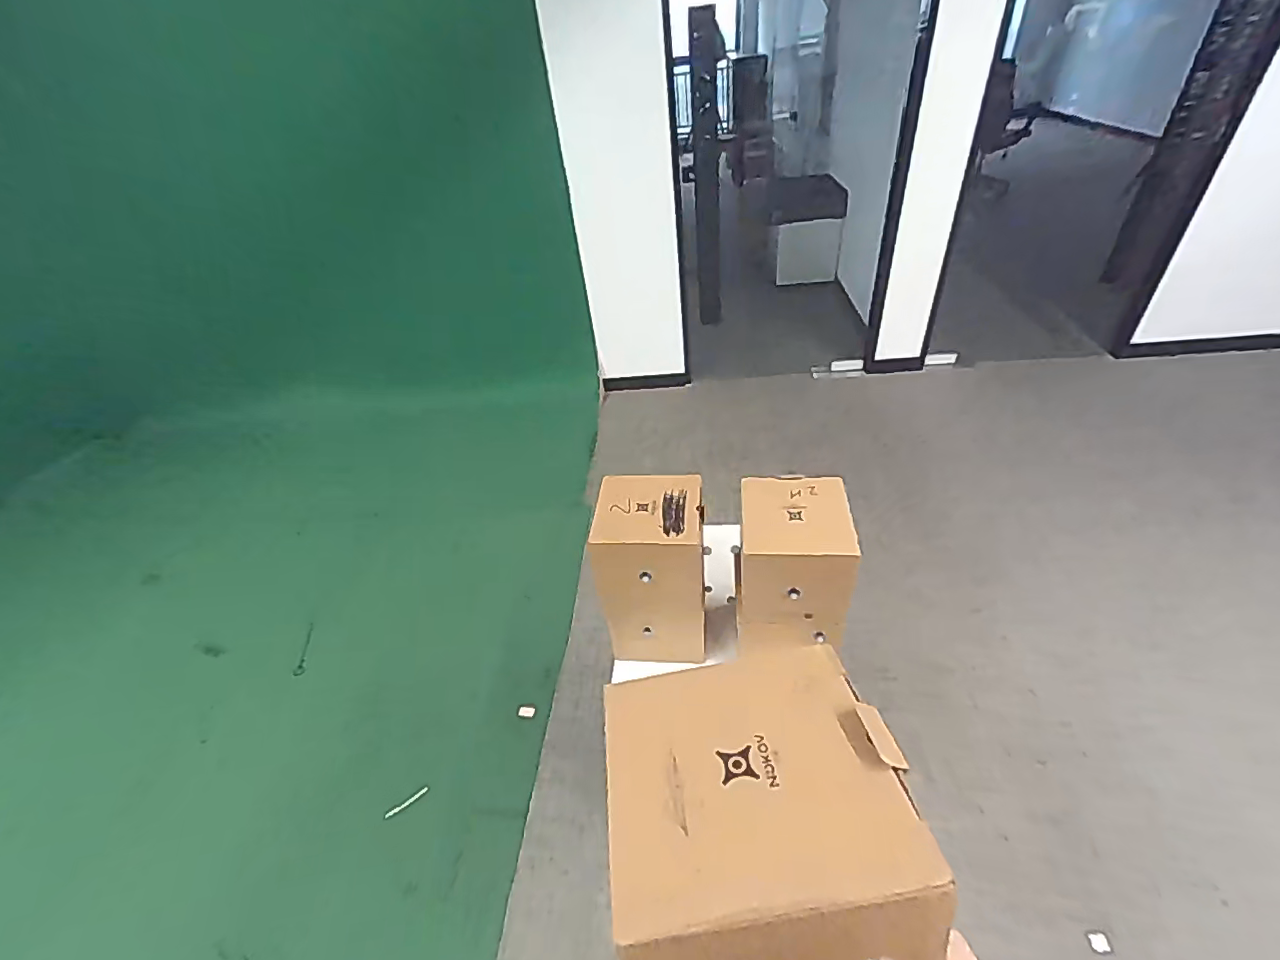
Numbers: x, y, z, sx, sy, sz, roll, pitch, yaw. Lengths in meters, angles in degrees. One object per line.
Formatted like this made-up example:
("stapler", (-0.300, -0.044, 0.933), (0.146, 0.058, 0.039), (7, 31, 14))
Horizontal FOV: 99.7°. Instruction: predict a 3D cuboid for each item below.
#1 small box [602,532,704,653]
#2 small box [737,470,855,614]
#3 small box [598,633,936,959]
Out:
("small box", (0.034, 0.217, 1.042), (0.179, 0.176, 0.168), (0, 42, 7))
("small box", (0.245, 0.102, 0.888), (0.168, 0.176, 0.179), (0, 41, 9))
("small box", (0.073, 0.240, 0.379), (0.179, 0.176, 0.168), (-12, 28, 2))
